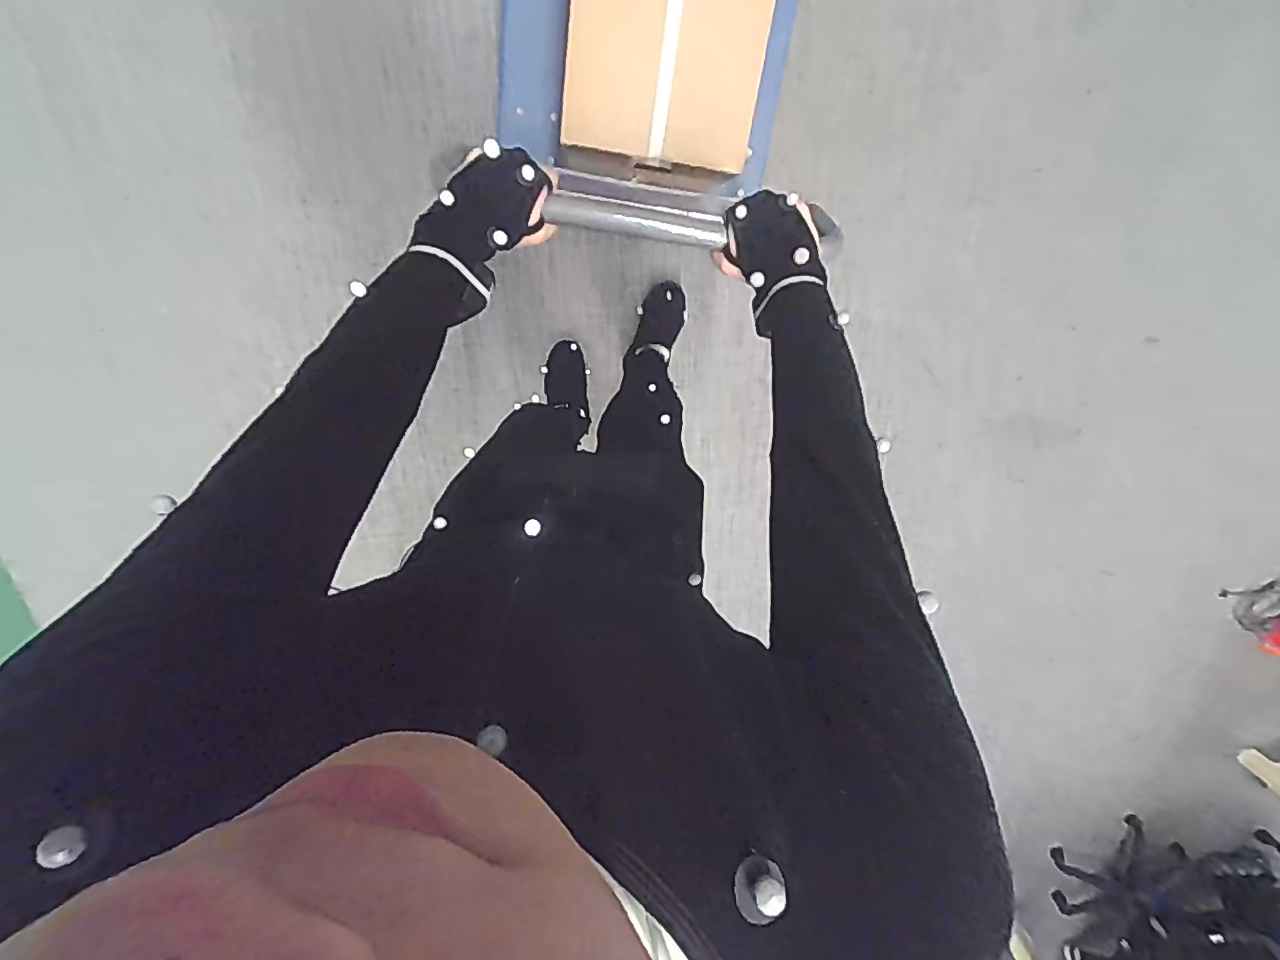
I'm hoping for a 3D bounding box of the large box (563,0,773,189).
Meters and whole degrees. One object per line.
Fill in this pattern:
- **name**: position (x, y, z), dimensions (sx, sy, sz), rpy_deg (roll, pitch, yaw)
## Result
- **large box**: position (0.043, -0.781, 0.972), dimensions (0.320, 0.320, 0.408), rpy_deg (6, 112, -7)
